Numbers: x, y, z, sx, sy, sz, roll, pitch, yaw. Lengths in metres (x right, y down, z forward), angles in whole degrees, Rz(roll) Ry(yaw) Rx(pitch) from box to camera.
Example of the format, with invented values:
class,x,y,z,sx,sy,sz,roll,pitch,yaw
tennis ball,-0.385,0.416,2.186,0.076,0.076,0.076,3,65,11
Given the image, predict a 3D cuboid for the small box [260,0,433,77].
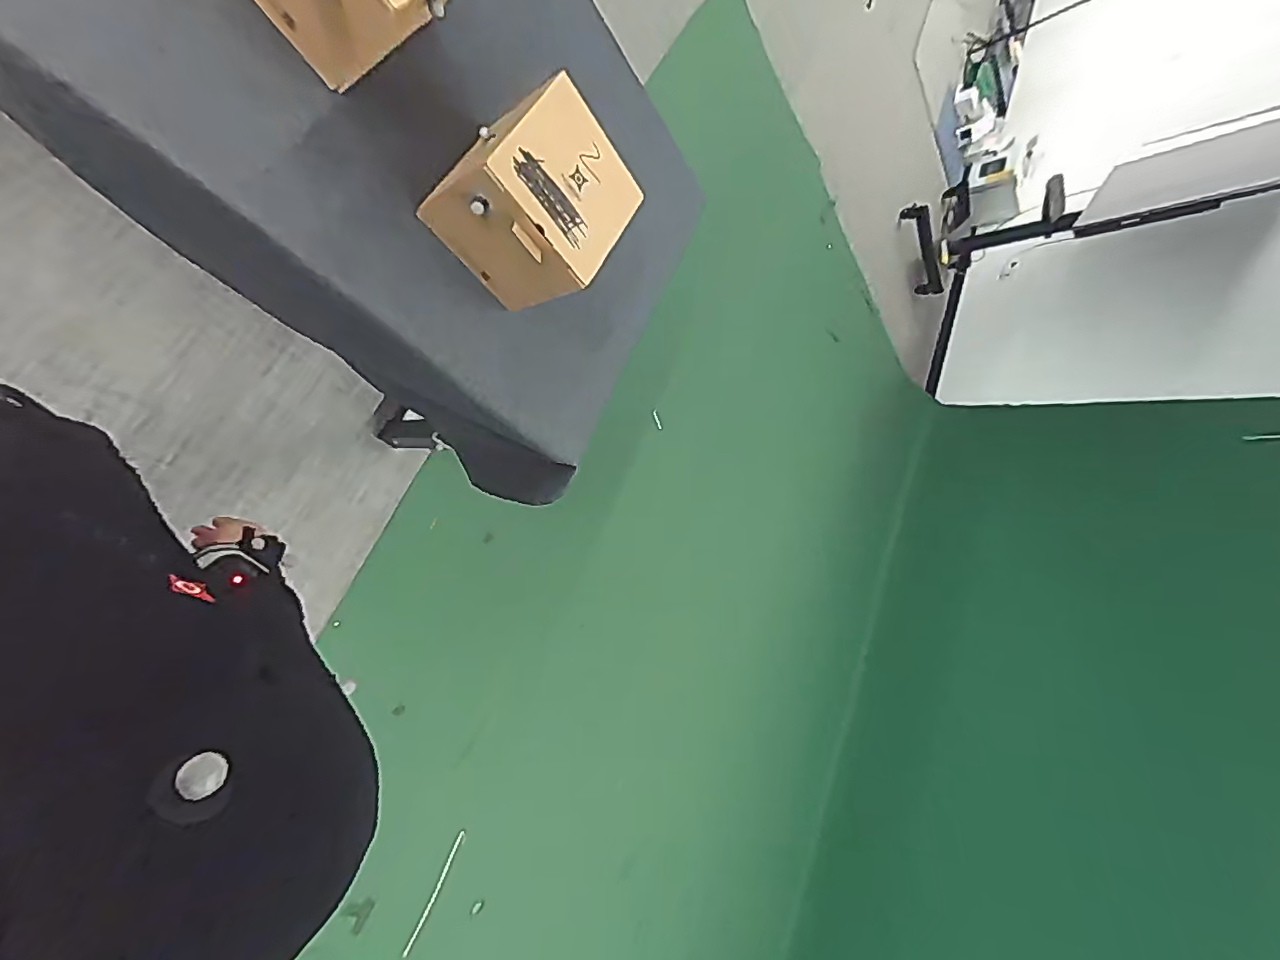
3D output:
class,x,y,z,sx,sy,sz,roll,pitch,yaw
small box,-0.276,-0.534,0.506,0.168,0.176,0.179,48,61,-38
